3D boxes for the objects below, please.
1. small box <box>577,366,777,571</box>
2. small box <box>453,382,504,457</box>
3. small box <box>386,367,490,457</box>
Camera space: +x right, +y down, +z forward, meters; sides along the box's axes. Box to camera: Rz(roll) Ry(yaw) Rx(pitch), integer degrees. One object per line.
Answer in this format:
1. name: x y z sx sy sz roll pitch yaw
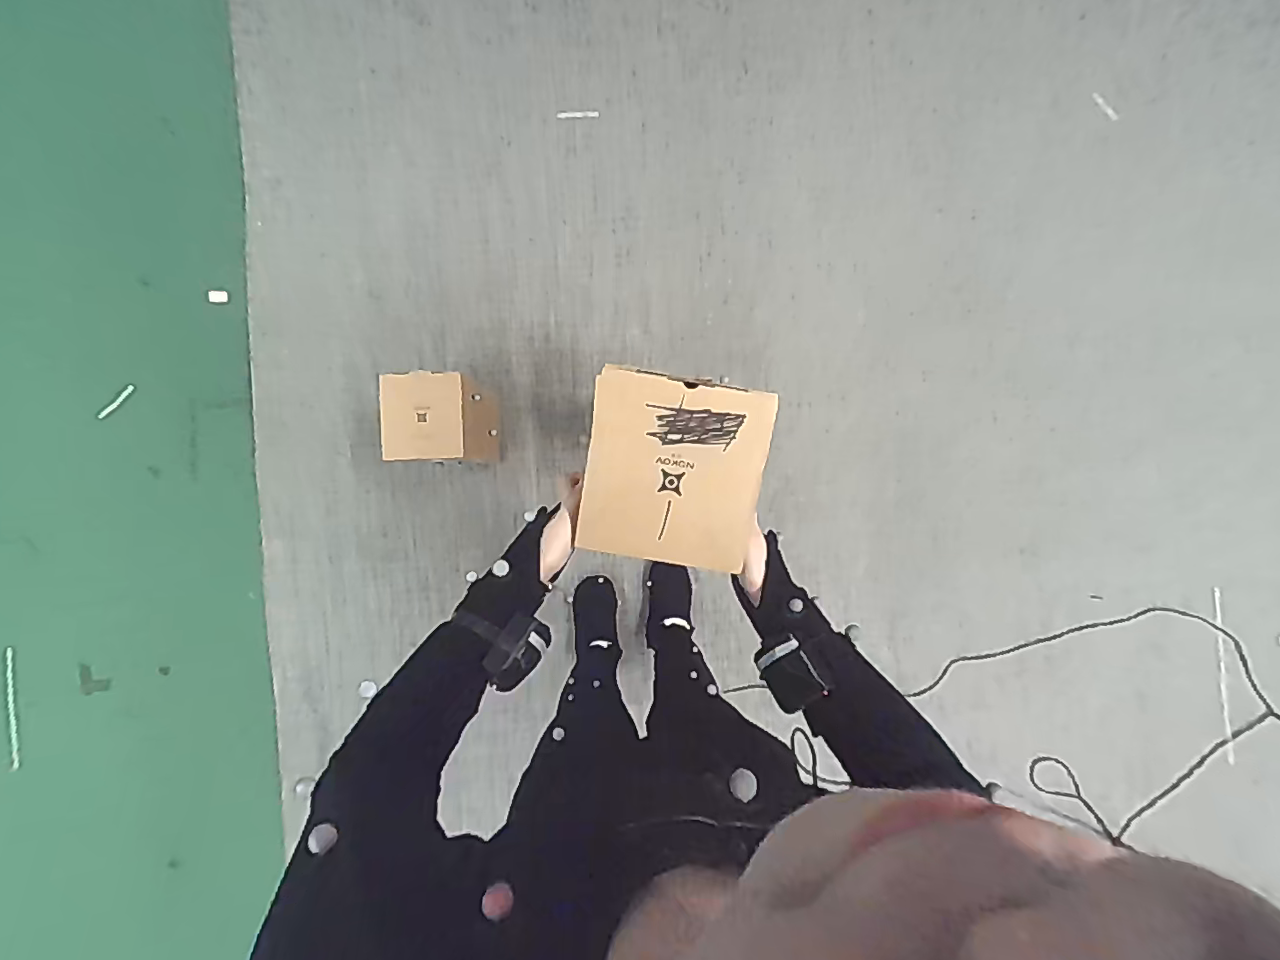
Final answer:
1. small box: 0.032 -0.023 0.590 0.168 0.176 0.179 10 102 -2
2. small box: -0.437 -0.145 1.335 0.168 0.176 0.179 1 91 -1
3. small box: -0.430 -0.141 1.173 0.168 0.176 0.179 -3 91 0
